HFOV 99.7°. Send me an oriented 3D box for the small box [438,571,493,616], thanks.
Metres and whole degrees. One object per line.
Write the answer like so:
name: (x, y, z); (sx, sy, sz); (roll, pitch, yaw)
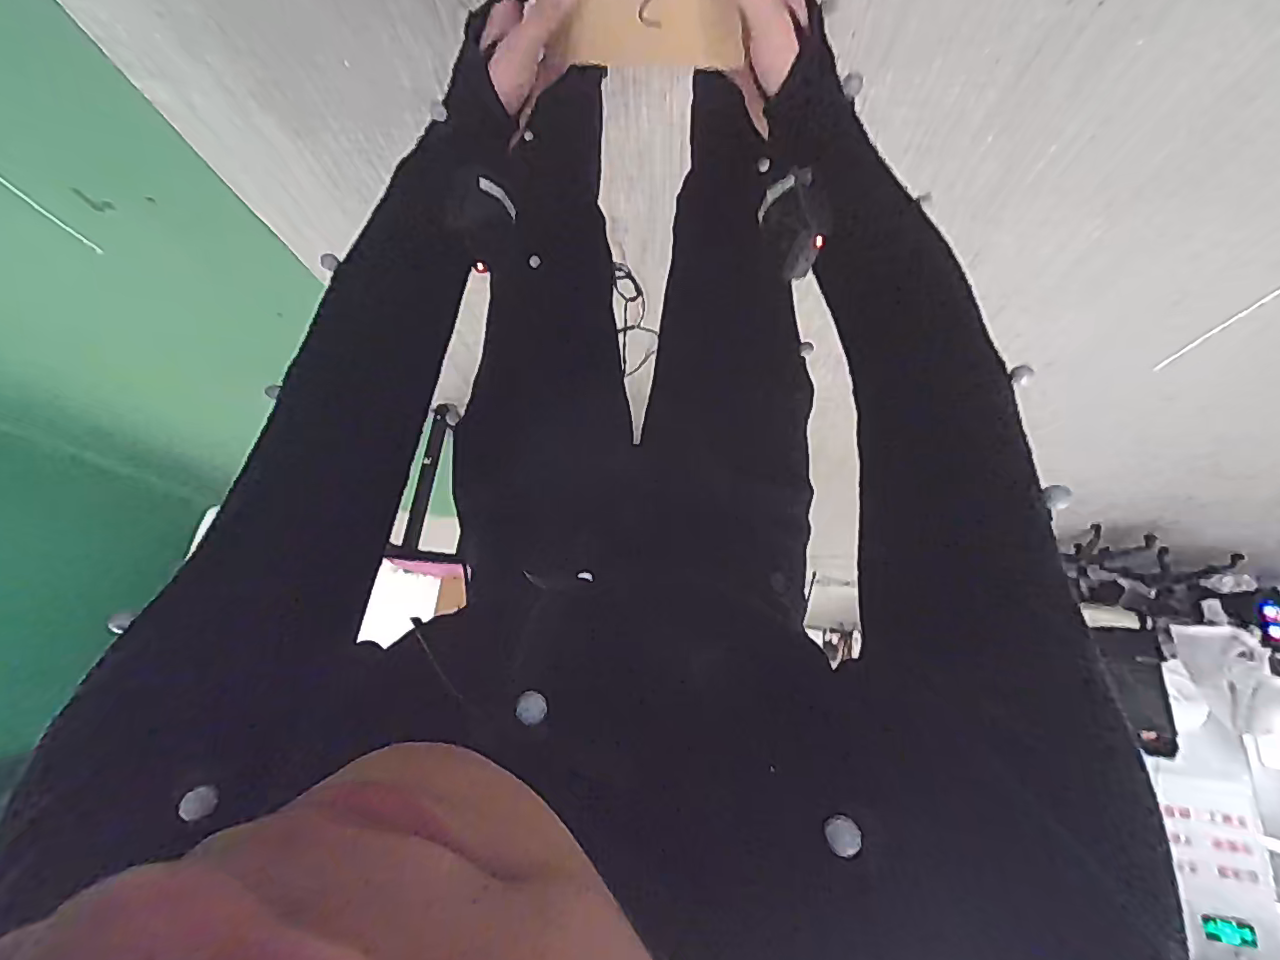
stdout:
small box: (-0.757, 0.498, 2.368); (0.168, 0.176, 0.179); (3, 163, 7)
